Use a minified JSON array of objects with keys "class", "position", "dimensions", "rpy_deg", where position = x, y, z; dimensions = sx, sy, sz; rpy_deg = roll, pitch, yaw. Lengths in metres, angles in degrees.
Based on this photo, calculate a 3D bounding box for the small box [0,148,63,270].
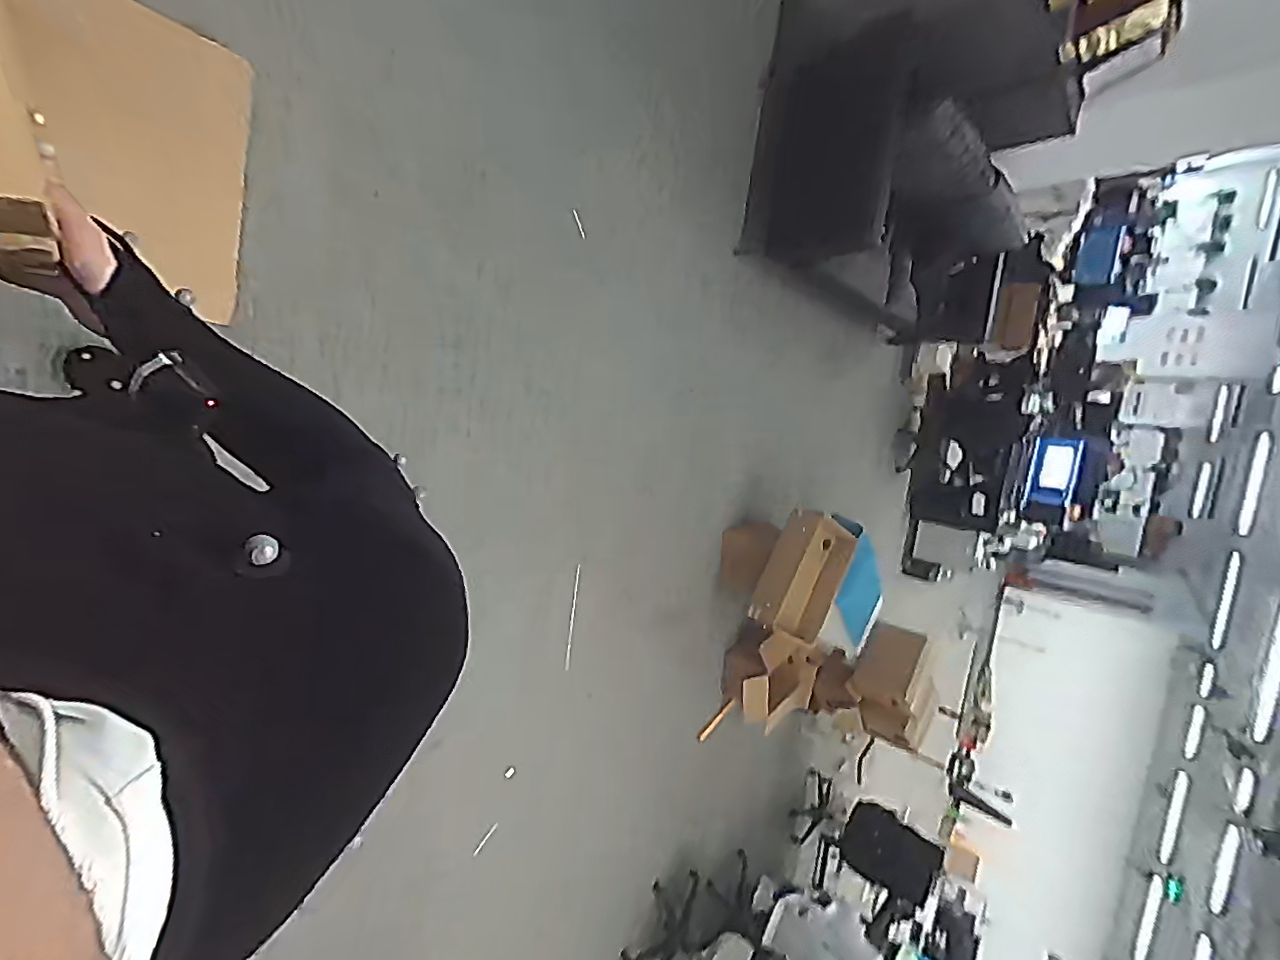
[{"class":"small box","position":[-0.642,-0.285,0.471],"dimensions":[0.168,0.176,0.179],"rpy_deg":[-14,111,-43]}]

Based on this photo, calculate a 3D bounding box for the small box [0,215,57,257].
[{"class":"small box","position":[-0.526,-0.252,0.359],"dimensions":[0.168,0.176,0.179],"rpy_deg":[-15,111,-43]}]

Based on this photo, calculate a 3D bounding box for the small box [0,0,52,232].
[{"class":"small box","position":[-0.410,-0.227,0.248],"dimensions":[0.168,0.176,0.179],"rpy_deg":[-14,111,-43]}]
